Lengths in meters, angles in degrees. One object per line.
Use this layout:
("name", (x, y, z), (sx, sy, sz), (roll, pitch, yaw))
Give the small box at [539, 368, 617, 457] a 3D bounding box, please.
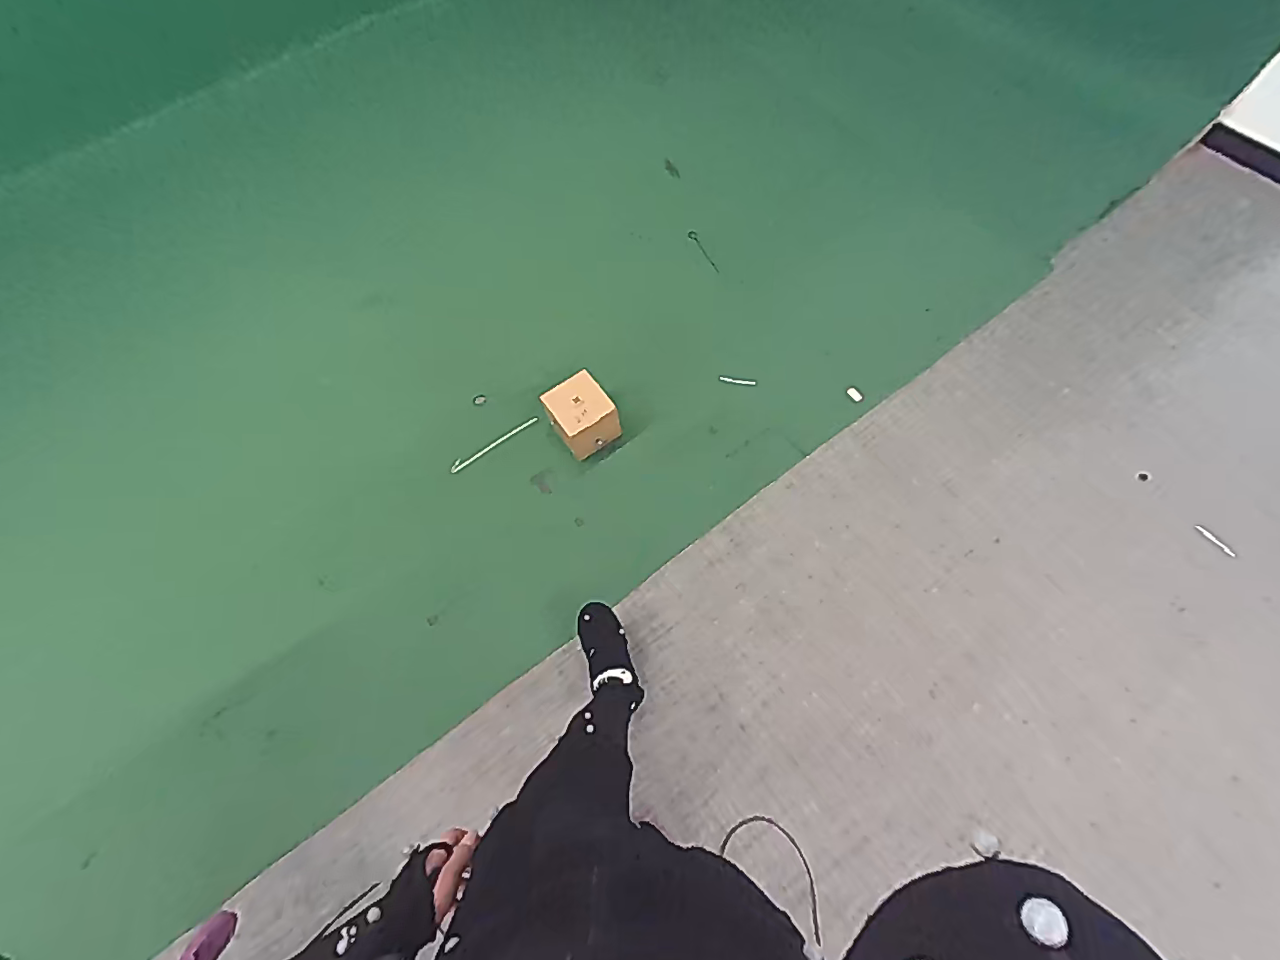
("small box", (-0.188, -0.203, 1.670), (0.168, 0.176, 0.179), (-34, 70, -11))
